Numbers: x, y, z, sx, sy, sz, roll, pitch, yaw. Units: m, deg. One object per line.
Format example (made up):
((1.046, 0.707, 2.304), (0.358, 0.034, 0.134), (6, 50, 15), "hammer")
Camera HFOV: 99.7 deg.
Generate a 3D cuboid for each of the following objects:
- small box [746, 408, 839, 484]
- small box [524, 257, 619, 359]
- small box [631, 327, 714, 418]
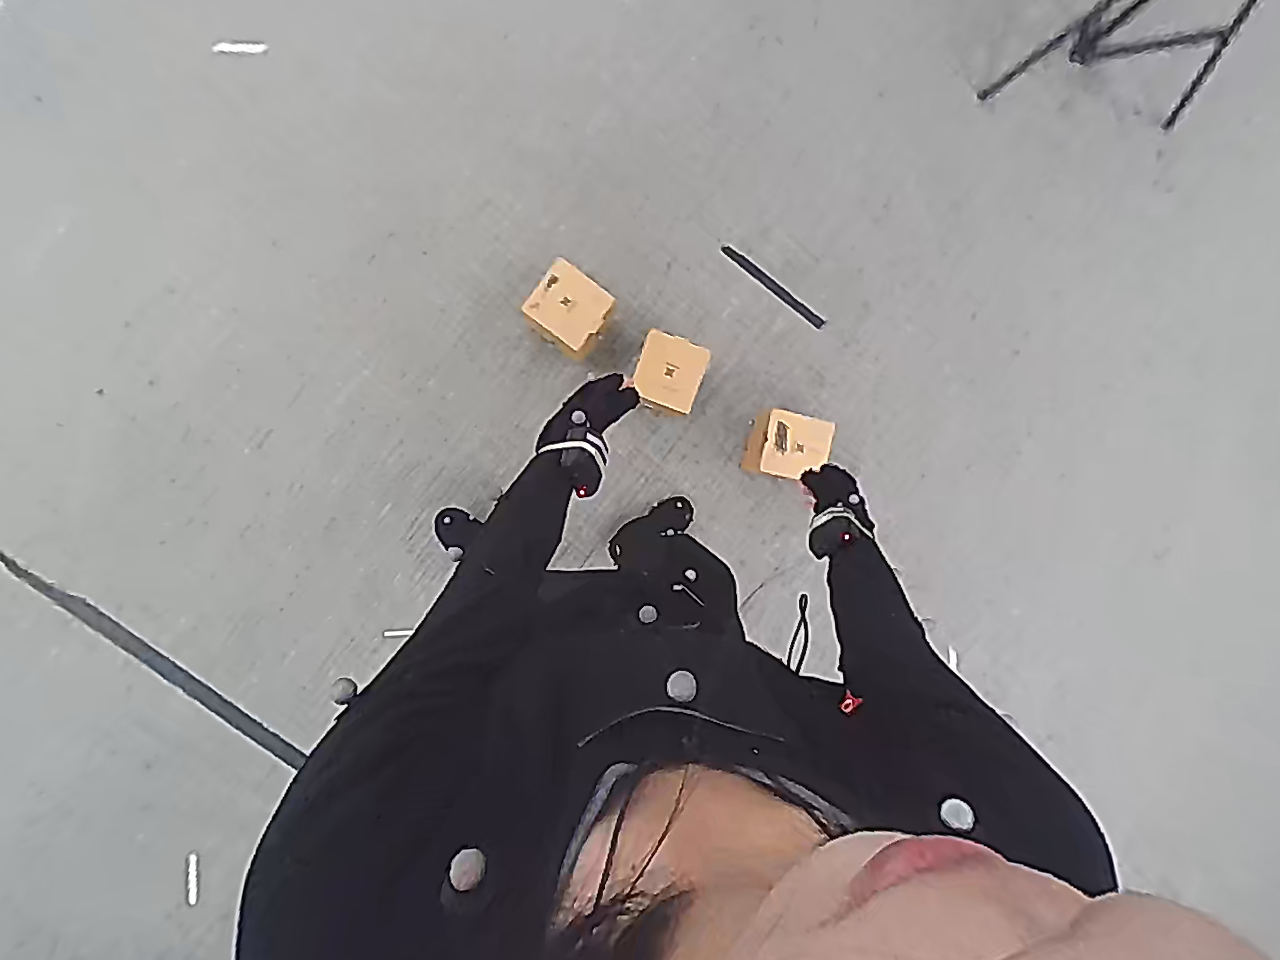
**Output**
((0.400, -0.087, 1.453), (0.179, 0.176, 0.168), (13, 91, -6), "small box")
((-0.173, -0.434, 1.402), (0.179, 0.176, 0.168), (37, 89, -4), "small box")
((0.078, -0.275, 1.425), (0.168, 0.176, 0.179), (20, 91, -3), "small box")
